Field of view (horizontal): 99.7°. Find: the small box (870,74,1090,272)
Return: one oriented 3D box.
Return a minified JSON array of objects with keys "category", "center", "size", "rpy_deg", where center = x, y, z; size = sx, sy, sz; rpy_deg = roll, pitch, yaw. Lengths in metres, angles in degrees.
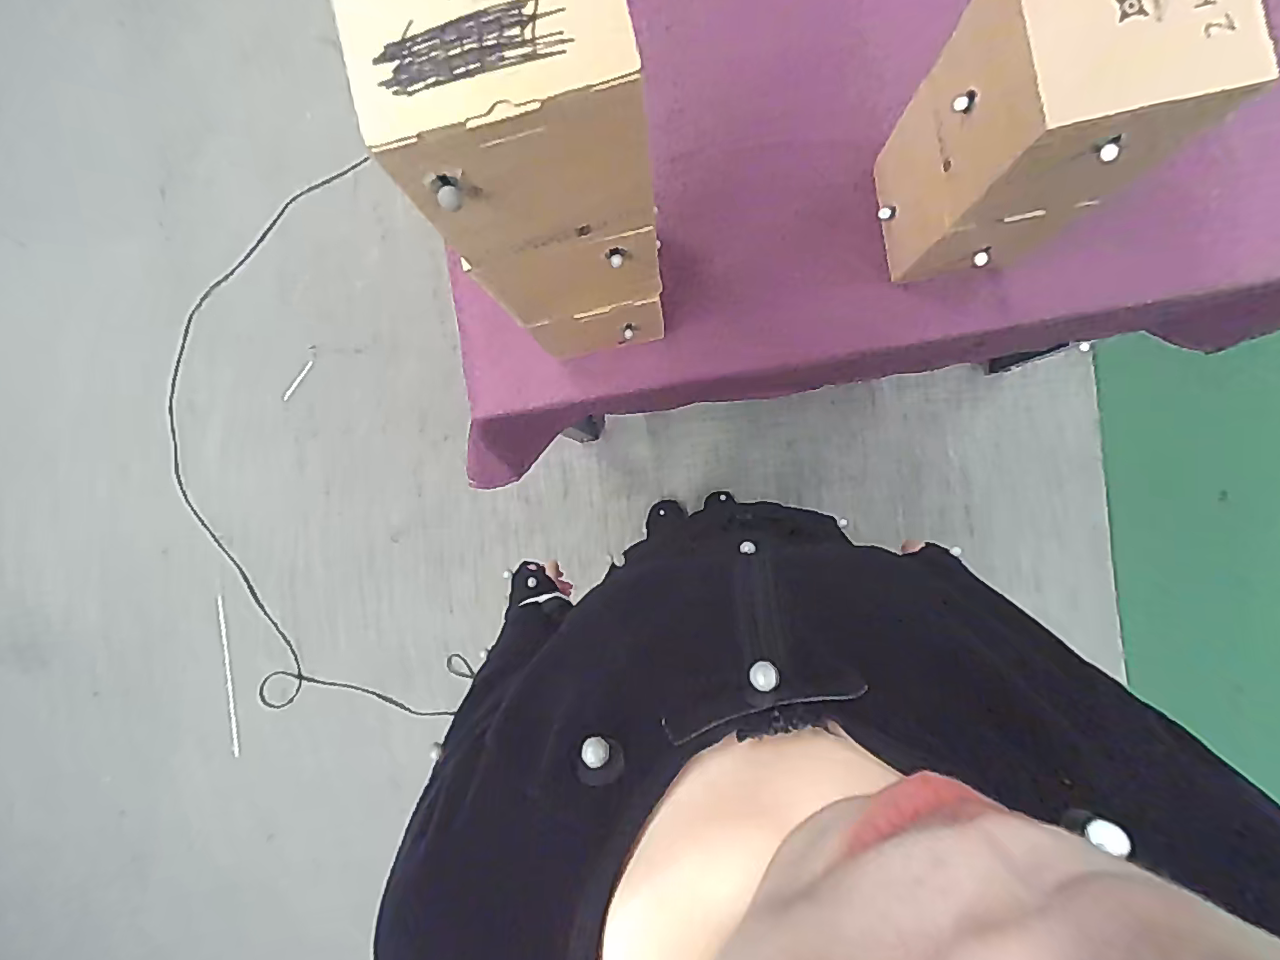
[{"category":"small box","center":[0.409,-0.379,0.679],"size":[0.168,0.176,0.179],"rpy_deg":[-9,90,4]}]

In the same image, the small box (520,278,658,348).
[{"category":"small box","center":[-0.070,-0.284,0.716],"size":[0.168,0.176,0.179],"rpy_deg":[-10,88,3]}]

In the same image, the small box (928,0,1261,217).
[{"category":"small box","center":[0.399,-0.378,0.514],"size":[0.179,0.176,0.168],"rpy_deg":[-9,89,4]}]

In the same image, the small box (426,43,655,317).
[{"category":"small box","center":[-0.086,-0.284,0.554],"size":[0.179,0.176,0.168],"rpy_deg":[-12,89,3]}]
